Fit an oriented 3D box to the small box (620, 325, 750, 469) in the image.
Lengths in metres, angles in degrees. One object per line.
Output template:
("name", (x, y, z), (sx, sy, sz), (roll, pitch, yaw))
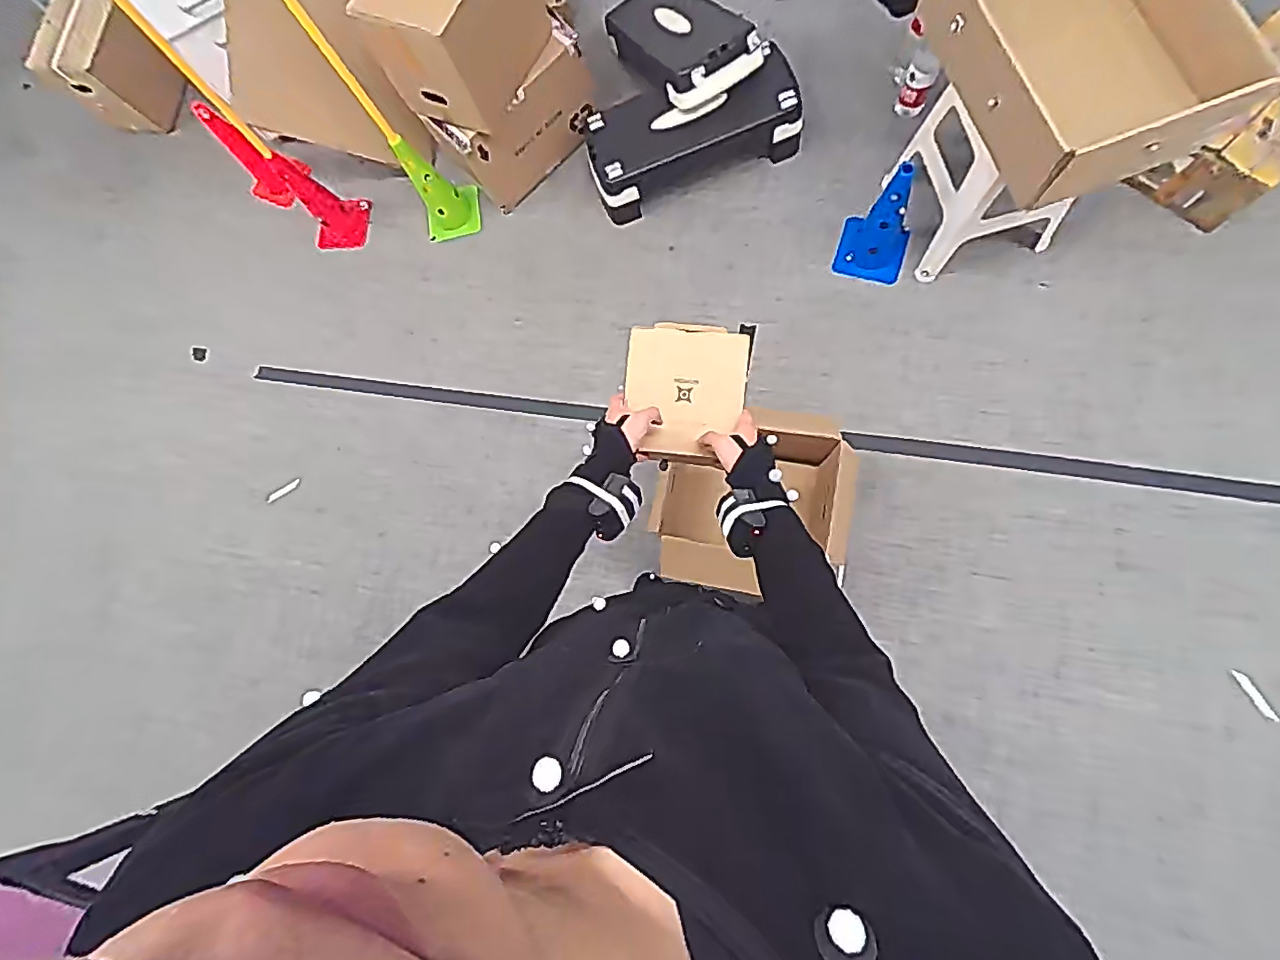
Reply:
("small box", (0.064, -0.117, 0.822), (0.168, 0.176, 0.179), (6, 88, 3))
